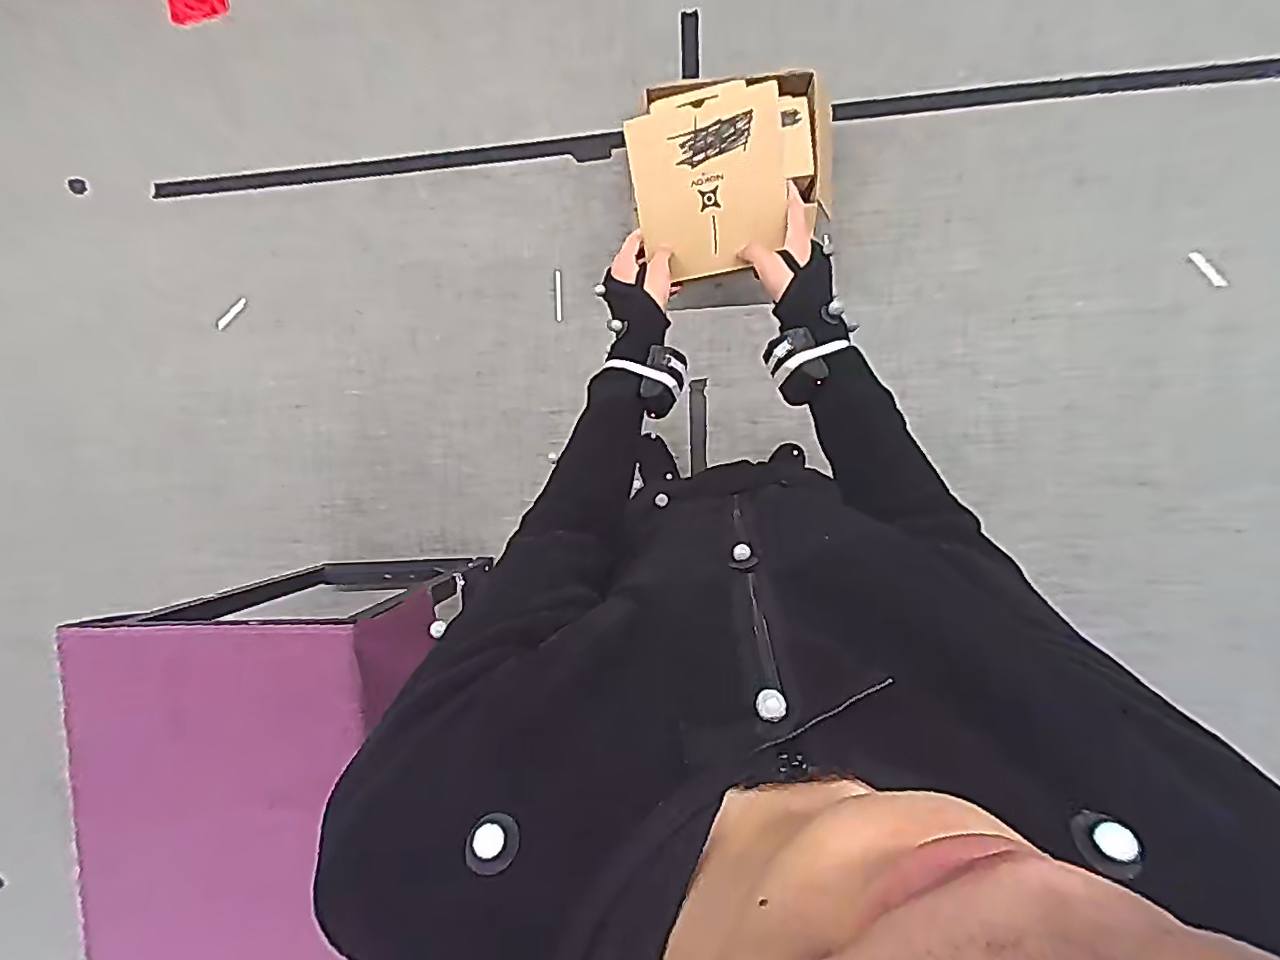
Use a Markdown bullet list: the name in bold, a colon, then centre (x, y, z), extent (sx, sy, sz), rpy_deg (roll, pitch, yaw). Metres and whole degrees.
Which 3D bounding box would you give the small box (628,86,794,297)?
- **small box**: centre (0.091, -0.333, 0.664), extent (0.168, 0.176, 0.179), rpy_deg (-7, 104, 12)
